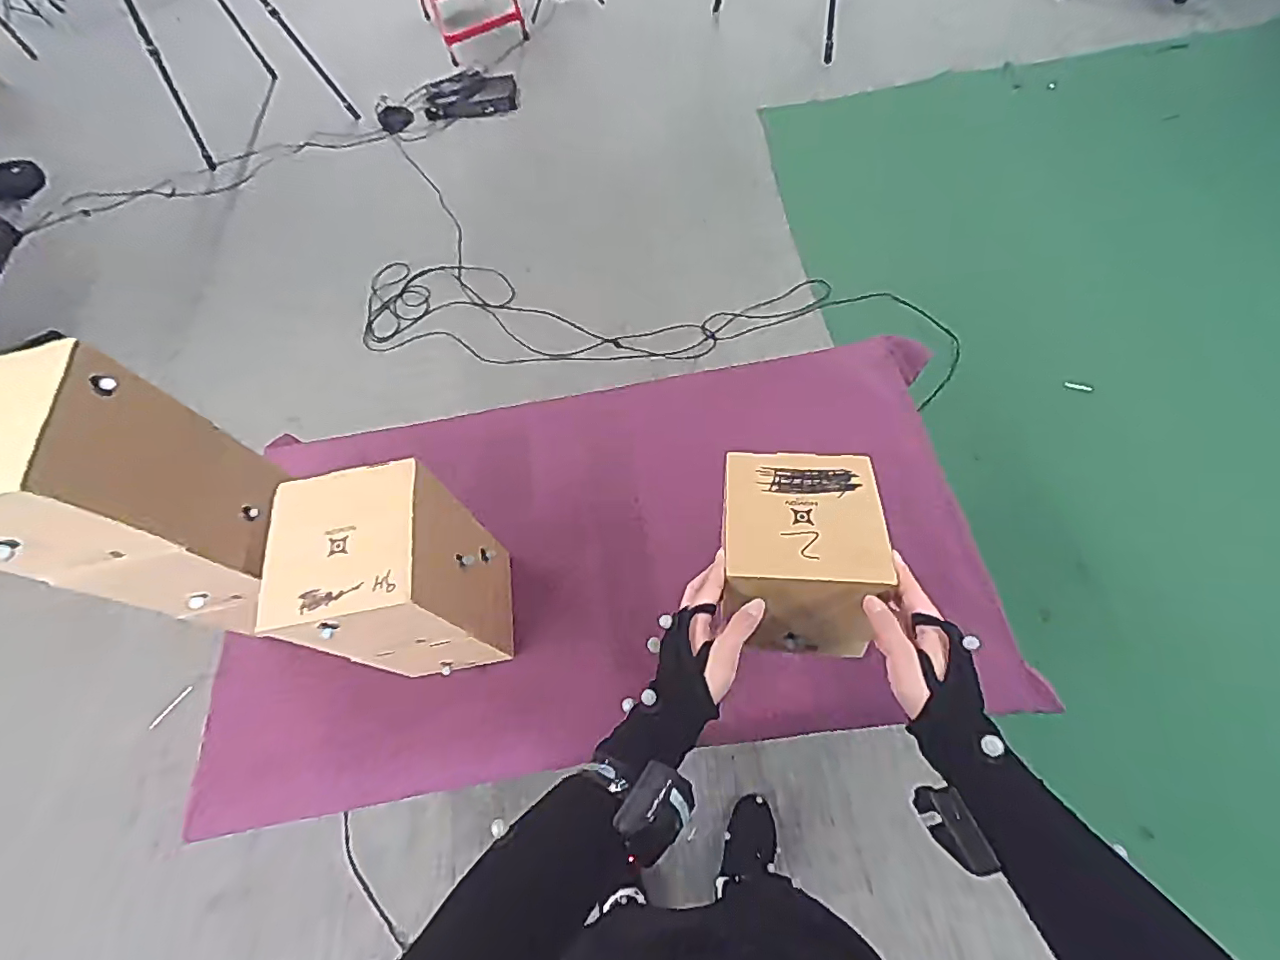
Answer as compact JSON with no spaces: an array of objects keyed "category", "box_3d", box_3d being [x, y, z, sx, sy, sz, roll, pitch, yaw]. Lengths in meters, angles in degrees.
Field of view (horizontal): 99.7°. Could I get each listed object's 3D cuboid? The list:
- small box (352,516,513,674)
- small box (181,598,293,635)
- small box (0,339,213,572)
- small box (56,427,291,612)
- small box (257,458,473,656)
[{"category":"small box","box_3d":[-0.294,0.176,0.804,0.168,0.176,0.179,-11,63,2]},{"category":"small box","box_3d":[-0.566,0.133,0.861,0.168,0.176,0.179,-12,63,2]},{"category":"small box","box_3d":[-0.603,-0.013,0.572,0.168,0.176,0.179,-13,62,2]},{"category":"small box","box_3d":[-0.584,0.059,0.716,0.168,0.176,0.179,-12,63,2]},{"category":"small box","box_3d":[-0.314,0.100,0.659,0.168,0.176,0.179,-11,62,2]}]
